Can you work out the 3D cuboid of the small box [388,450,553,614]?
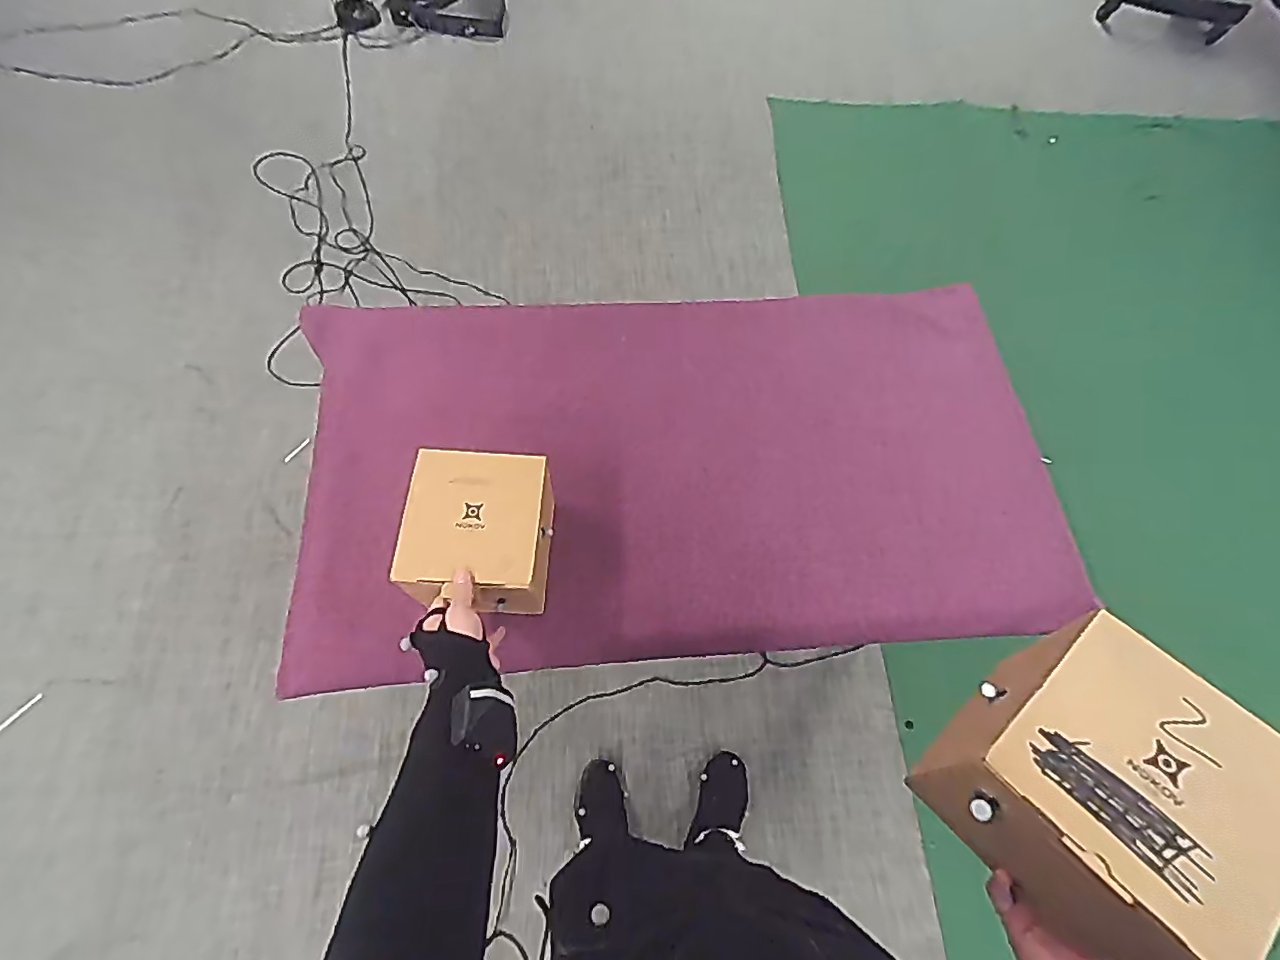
[{"bbox_3d":[-0.214,0.079,0.740,0.168,0.176,0.179,5,63,-3],"label":"small box"}]
